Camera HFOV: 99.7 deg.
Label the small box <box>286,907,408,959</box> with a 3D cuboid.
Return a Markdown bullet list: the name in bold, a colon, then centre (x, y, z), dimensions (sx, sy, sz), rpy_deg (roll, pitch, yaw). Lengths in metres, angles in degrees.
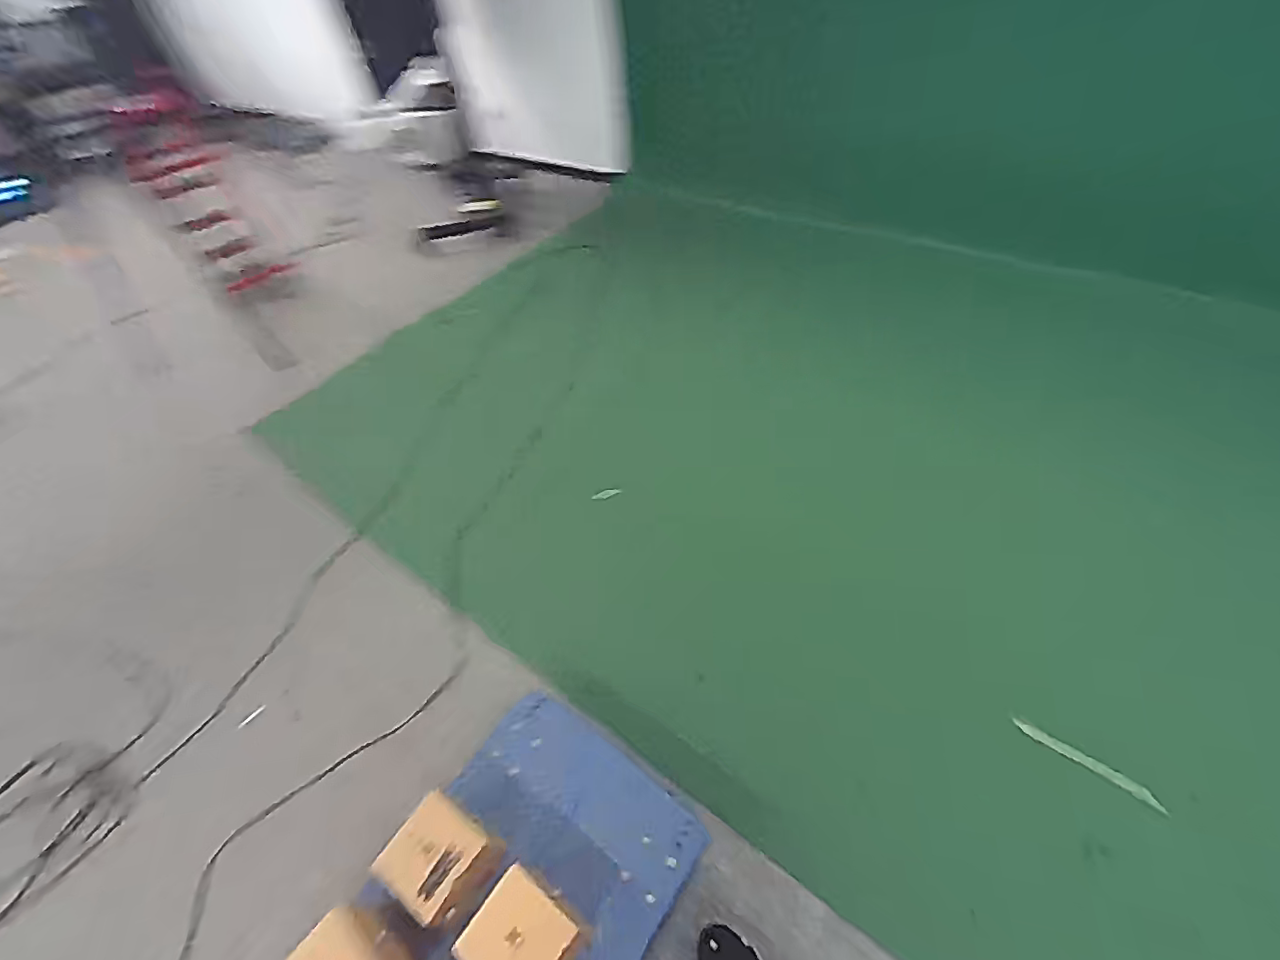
- **small box**: centre (-0.575, 0.973, 1.046), dimensions (0.179, 0.176, 0.168), rpy_deg (29, 58, 28)
